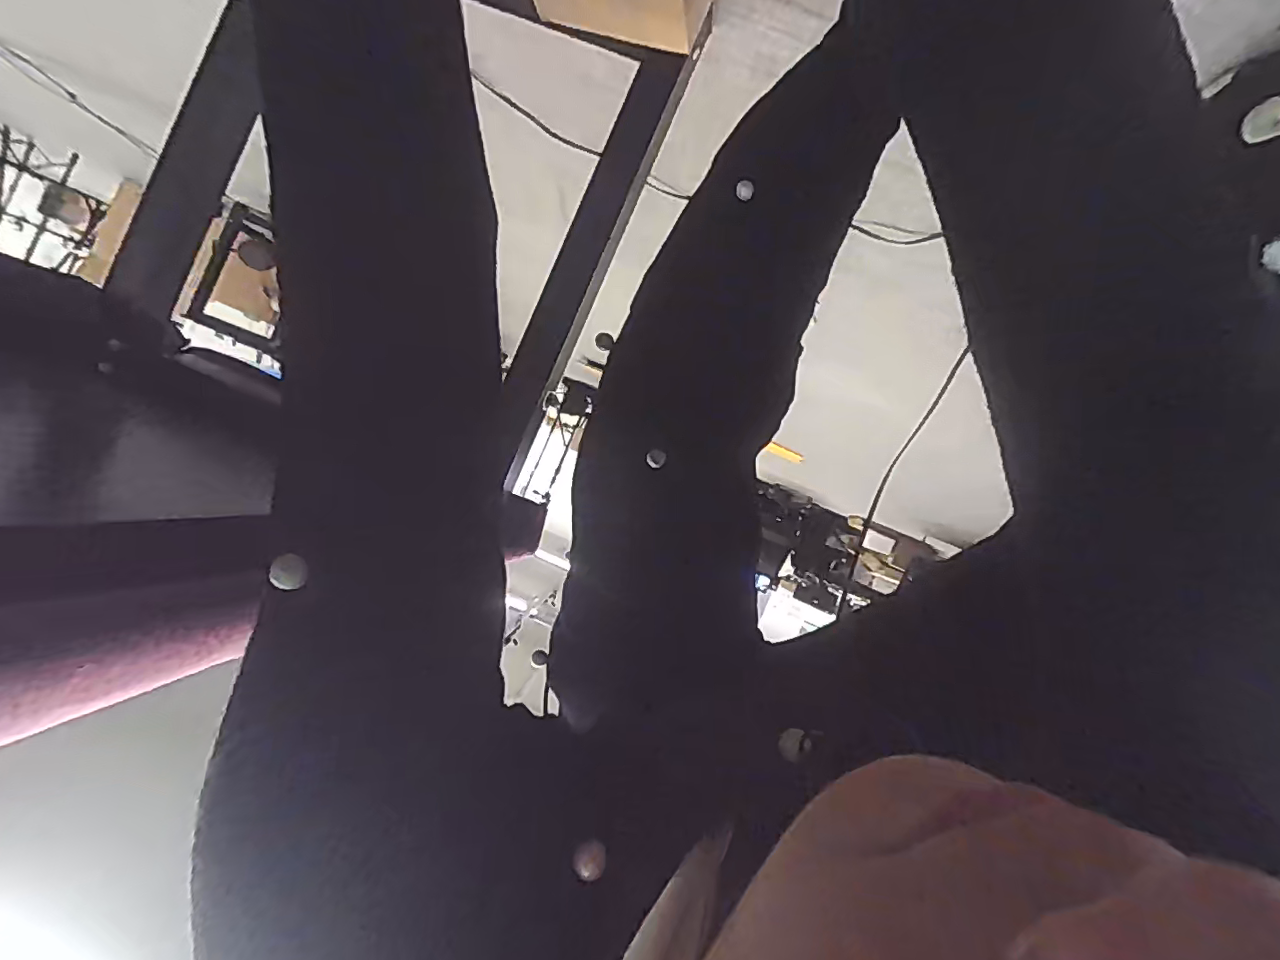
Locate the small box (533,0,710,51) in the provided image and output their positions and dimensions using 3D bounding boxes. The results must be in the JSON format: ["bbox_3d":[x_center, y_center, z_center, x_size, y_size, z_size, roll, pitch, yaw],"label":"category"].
[{"bbox_3d":[-0.010,-0.527,0.460,0.179,0.176,0.168,23,179,12],"label":"small box"}]
